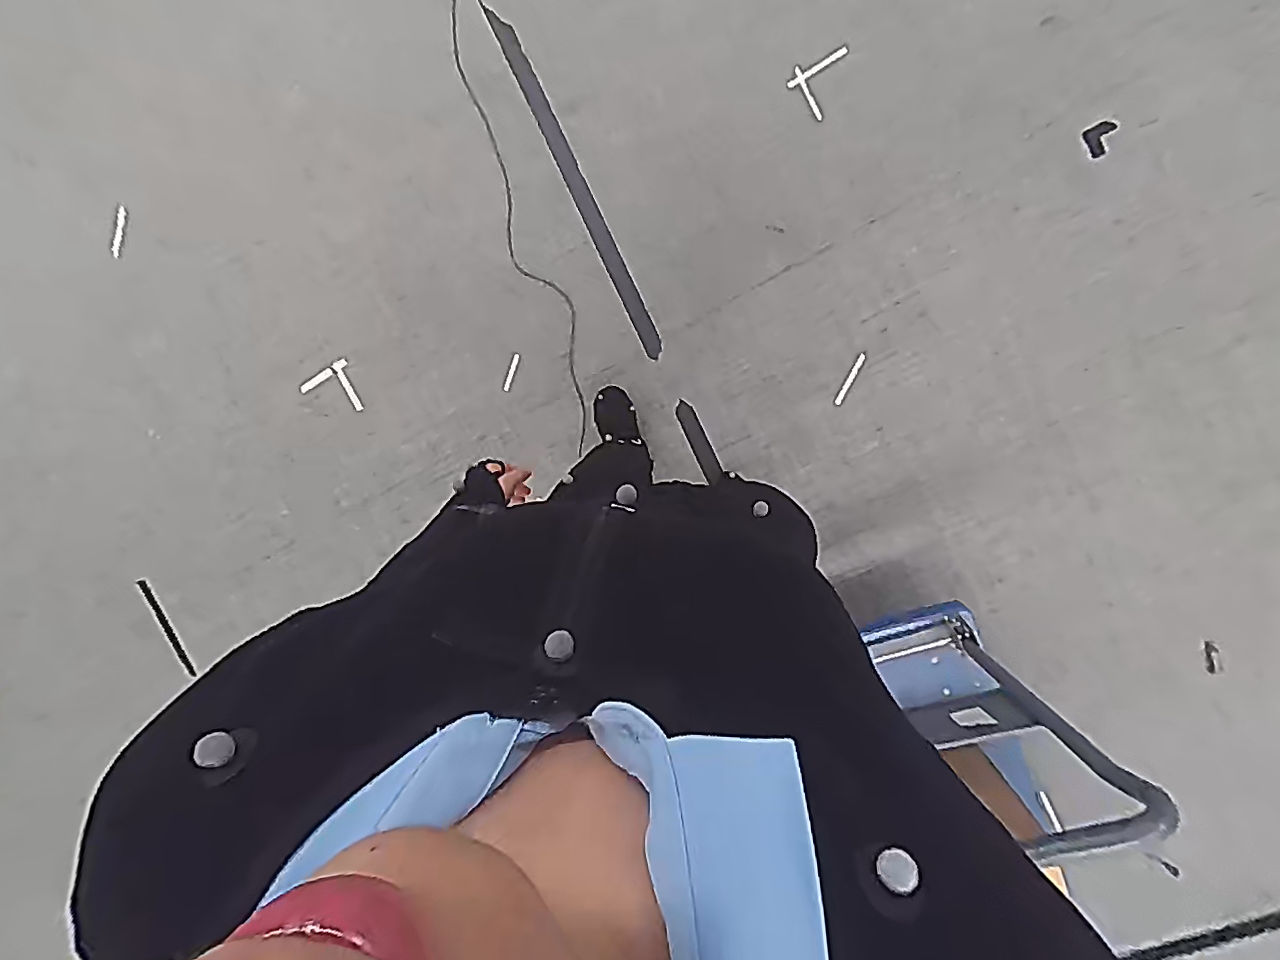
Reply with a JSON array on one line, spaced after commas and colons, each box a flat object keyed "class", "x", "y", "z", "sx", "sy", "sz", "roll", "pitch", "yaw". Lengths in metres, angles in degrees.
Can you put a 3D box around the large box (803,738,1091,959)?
[{"class": "large box", "x": 0.605, "y": 0.809, "z": 1.138, "sx": 0.408, "sy": 0.320, "sz": 0.320, "roll": -19, "pitch": 93, "yaw": 9}]
